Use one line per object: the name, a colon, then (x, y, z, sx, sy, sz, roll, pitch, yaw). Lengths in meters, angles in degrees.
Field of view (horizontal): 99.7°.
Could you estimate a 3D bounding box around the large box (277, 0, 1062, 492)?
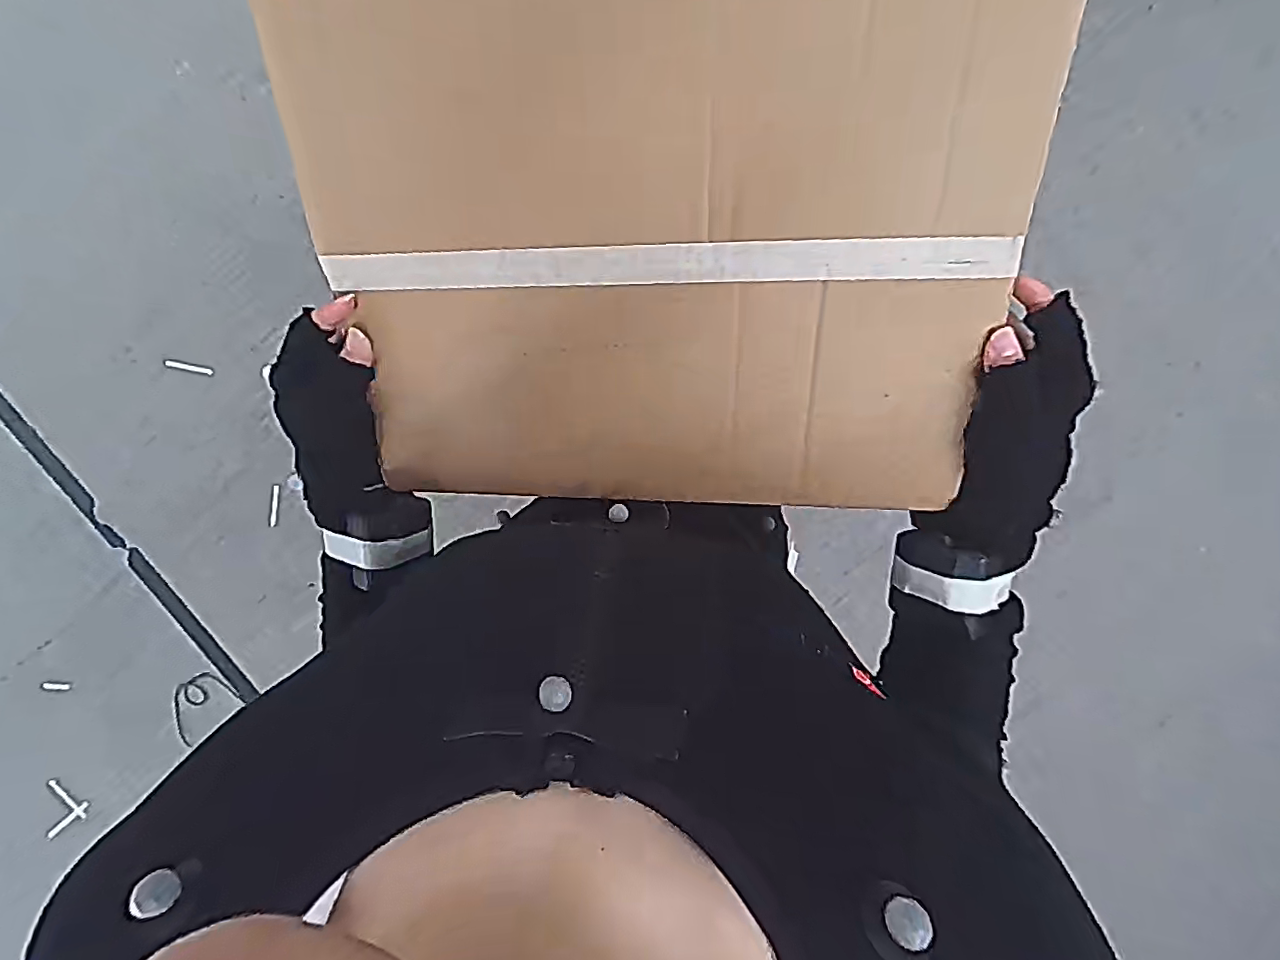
large box: (0.022, -0.197, 0.458, 0.408, 0.320, 0.320, 2, 118, 7)
